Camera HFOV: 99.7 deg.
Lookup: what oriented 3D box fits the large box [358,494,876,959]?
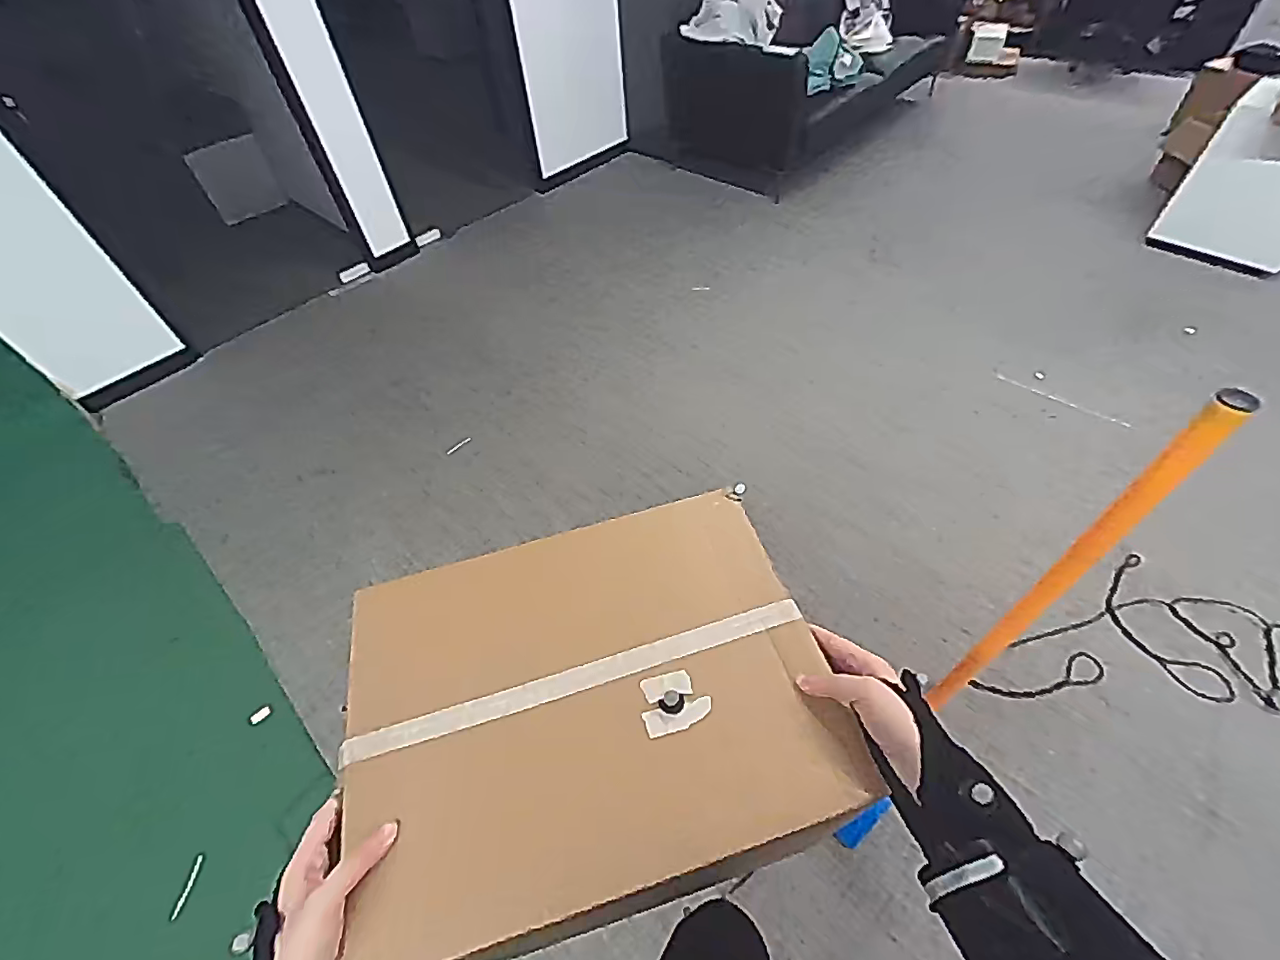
[{"bbox_3d":[-0.039,0.272,0.596,0.408,0.320,0.320,-15,51,-9],"label":"large box"}]

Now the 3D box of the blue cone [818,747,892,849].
[{"bbox_3d":[0.463,0.632,1.160,0.192,0.380,0.193,-33,55,-20],"label":"blue cone"}]
